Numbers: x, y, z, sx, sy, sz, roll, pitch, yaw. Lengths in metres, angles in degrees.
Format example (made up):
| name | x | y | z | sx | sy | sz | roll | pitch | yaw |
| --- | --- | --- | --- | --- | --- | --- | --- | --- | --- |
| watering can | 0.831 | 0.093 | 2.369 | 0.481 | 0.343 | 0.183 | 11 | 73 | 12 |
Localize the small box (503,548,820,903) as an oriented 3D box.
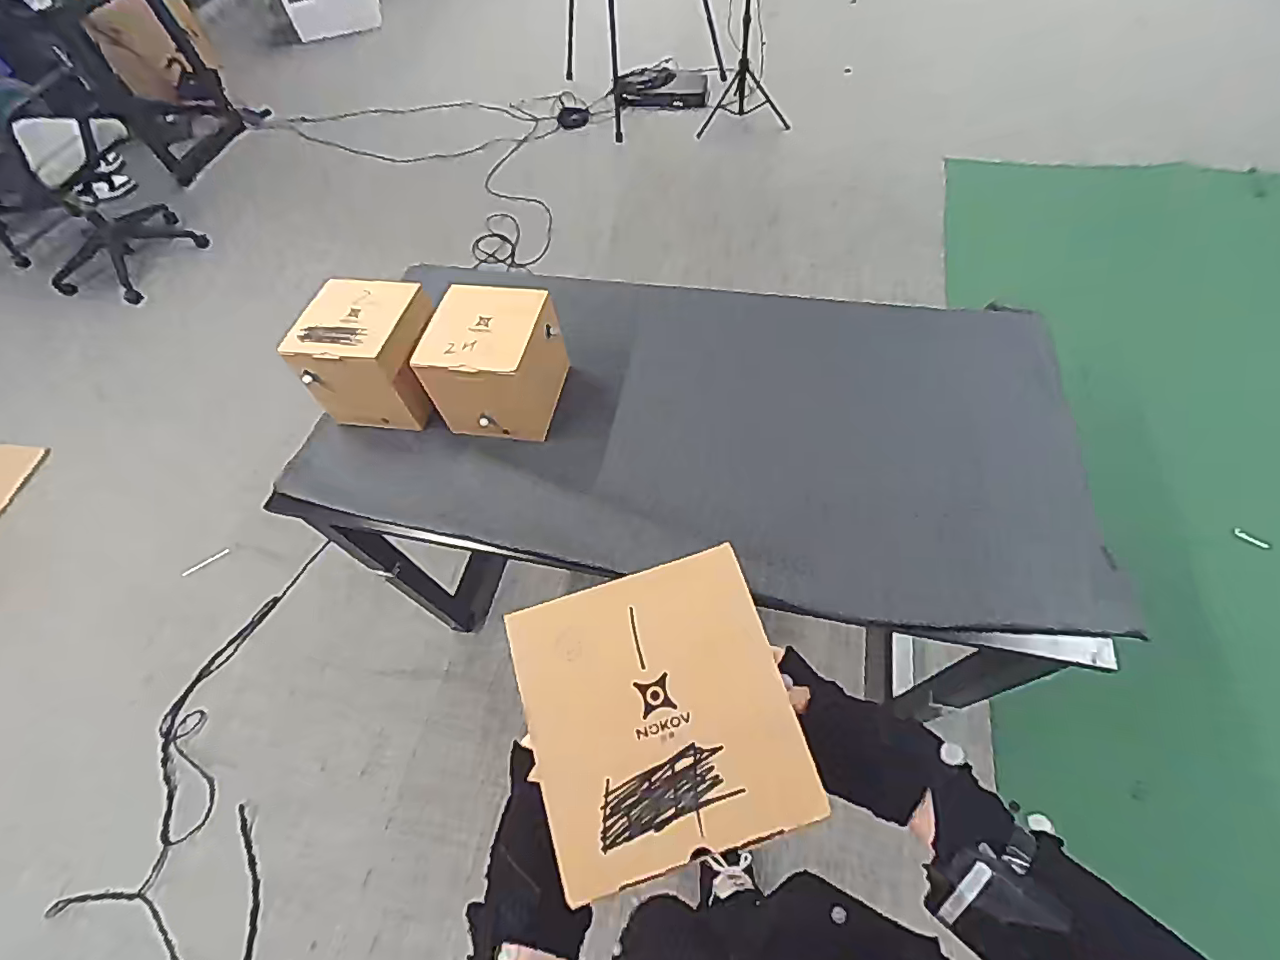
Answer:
| name | x | y | z | sx | sy | sz | roll | pitch | yaw |
| --- | --- | --- | --- | --- | --- | --- | --- | --- | --- |
| small box | 0.012 | 0.171 | 0.419 | 0.168 | 0.176 | 0.179 | -17 | 71 | -3 |
